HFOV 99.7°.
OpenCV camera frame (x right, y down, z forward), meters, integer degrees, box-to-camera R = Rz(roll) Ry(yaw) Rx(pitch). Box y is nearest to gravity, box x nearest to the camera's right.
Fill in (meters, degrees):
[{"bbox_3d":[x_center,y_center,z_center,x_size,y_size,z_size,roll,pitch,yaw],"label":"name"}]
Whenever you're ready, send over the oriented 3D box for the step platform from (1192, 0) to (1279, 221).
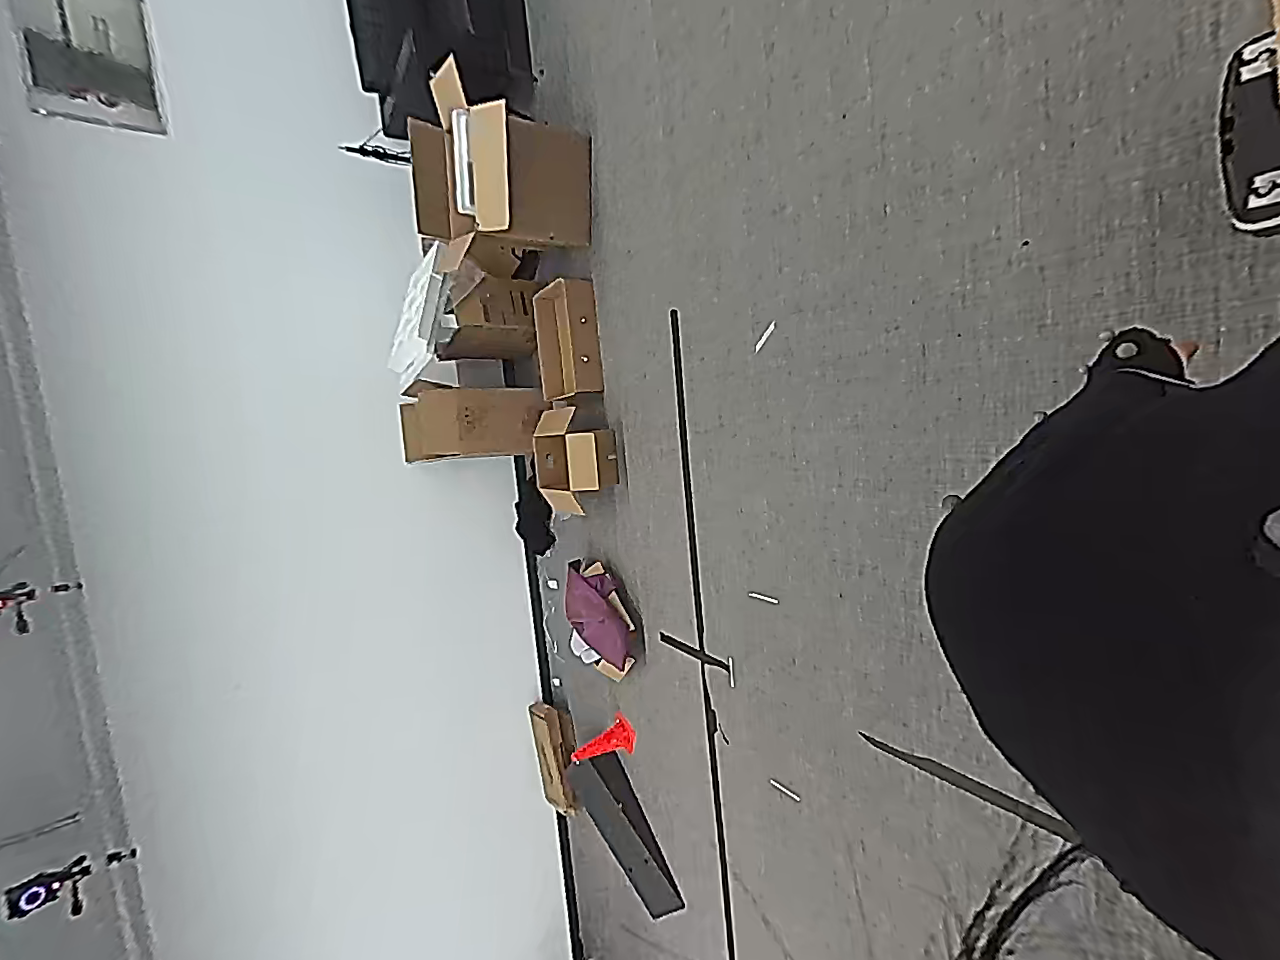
[{"bbox_3d":[1.051,-0.526,0.538,0.684,0.204,0.286,0,98,56],"label":"step platform"}]
